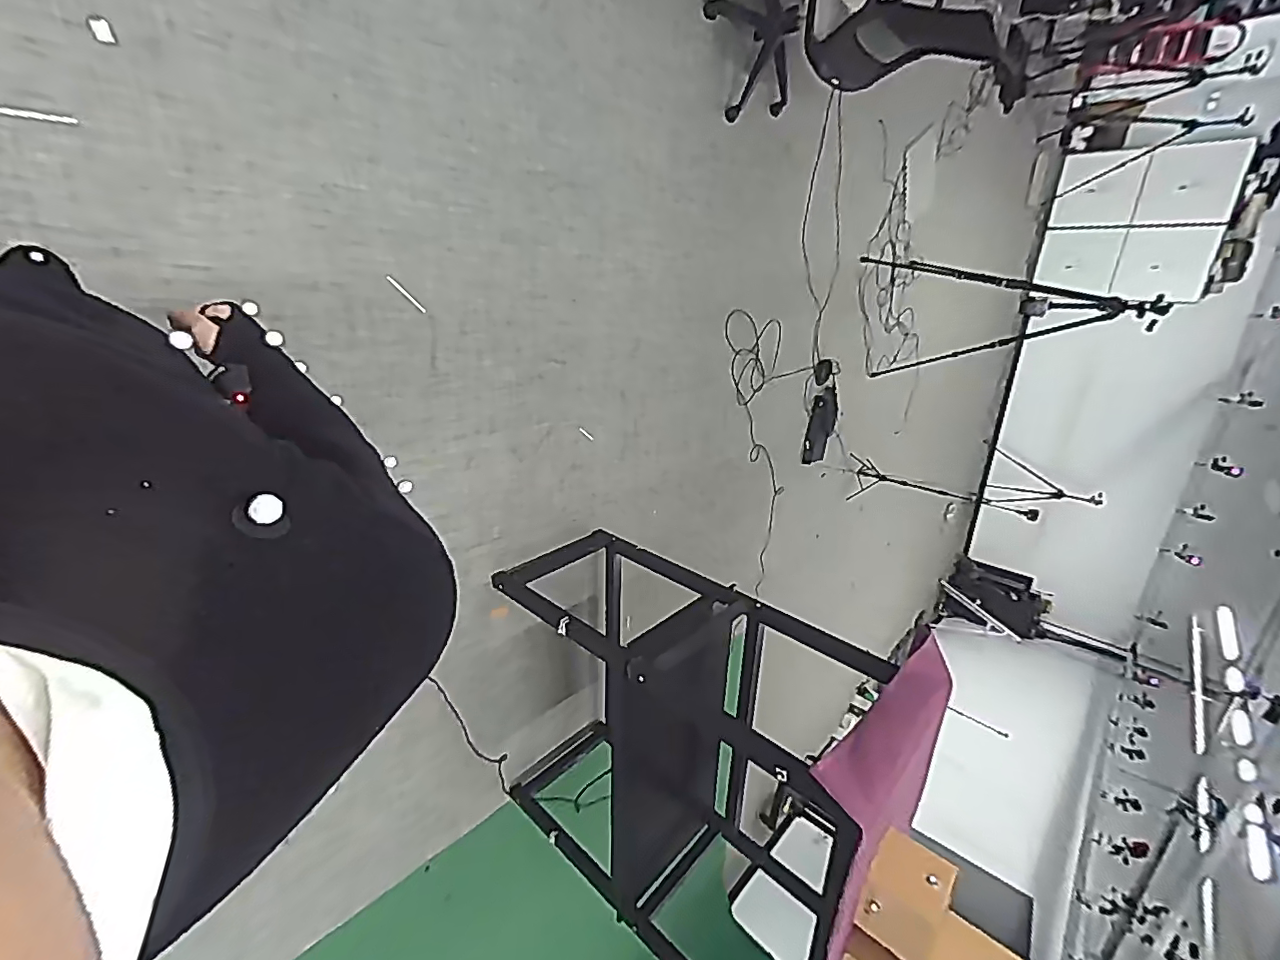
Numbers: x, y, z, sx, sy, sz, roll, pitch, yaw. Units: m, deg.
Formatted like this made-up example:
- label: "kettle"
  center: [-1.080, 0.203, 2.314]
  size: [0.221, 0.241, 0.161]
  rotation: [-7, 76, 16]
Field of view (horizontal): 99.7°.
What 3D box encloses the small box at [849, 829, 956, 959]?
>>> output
- label: "small box"
  center: [0.622, 0.990, 1.288]
  size: [0.179, 0.176, 0.168]
  rotation: [-15, 115, -46]
